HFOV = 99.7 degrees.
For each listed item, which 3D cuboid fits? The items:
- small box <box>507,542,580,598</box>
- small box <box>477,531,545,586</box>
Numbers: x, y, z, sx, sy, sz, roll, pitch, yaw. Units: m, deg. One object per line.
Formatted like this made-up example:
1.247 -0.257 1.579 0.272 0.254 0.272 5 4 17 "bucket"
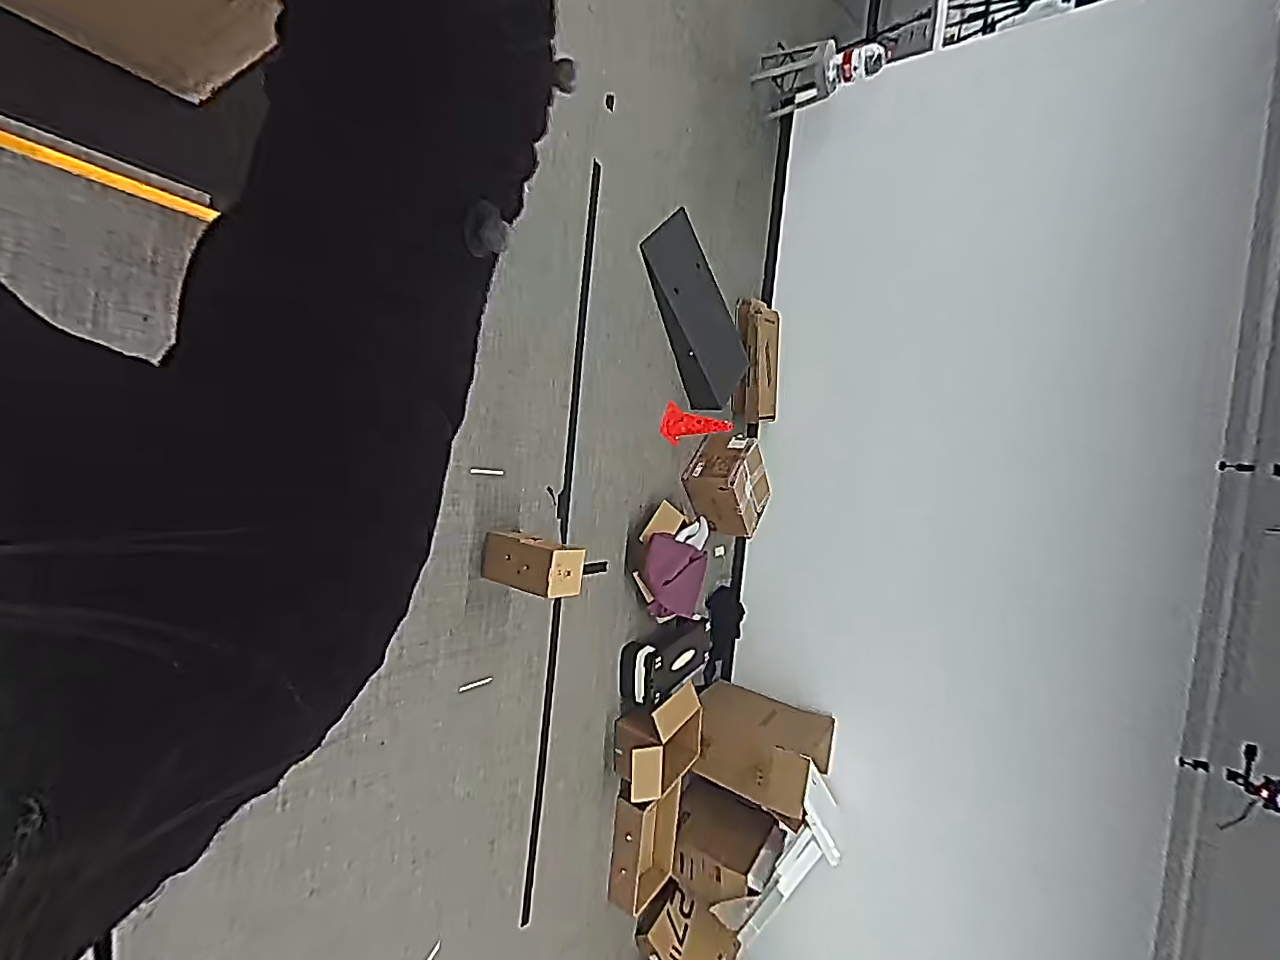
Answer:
-0.343 0.313 1.923 0.179 0.176 0.168 10 88 -57 "small box"
-0.482 0.288 2.008 0.168 0.176 0.179 10 88 -57 "small box"
